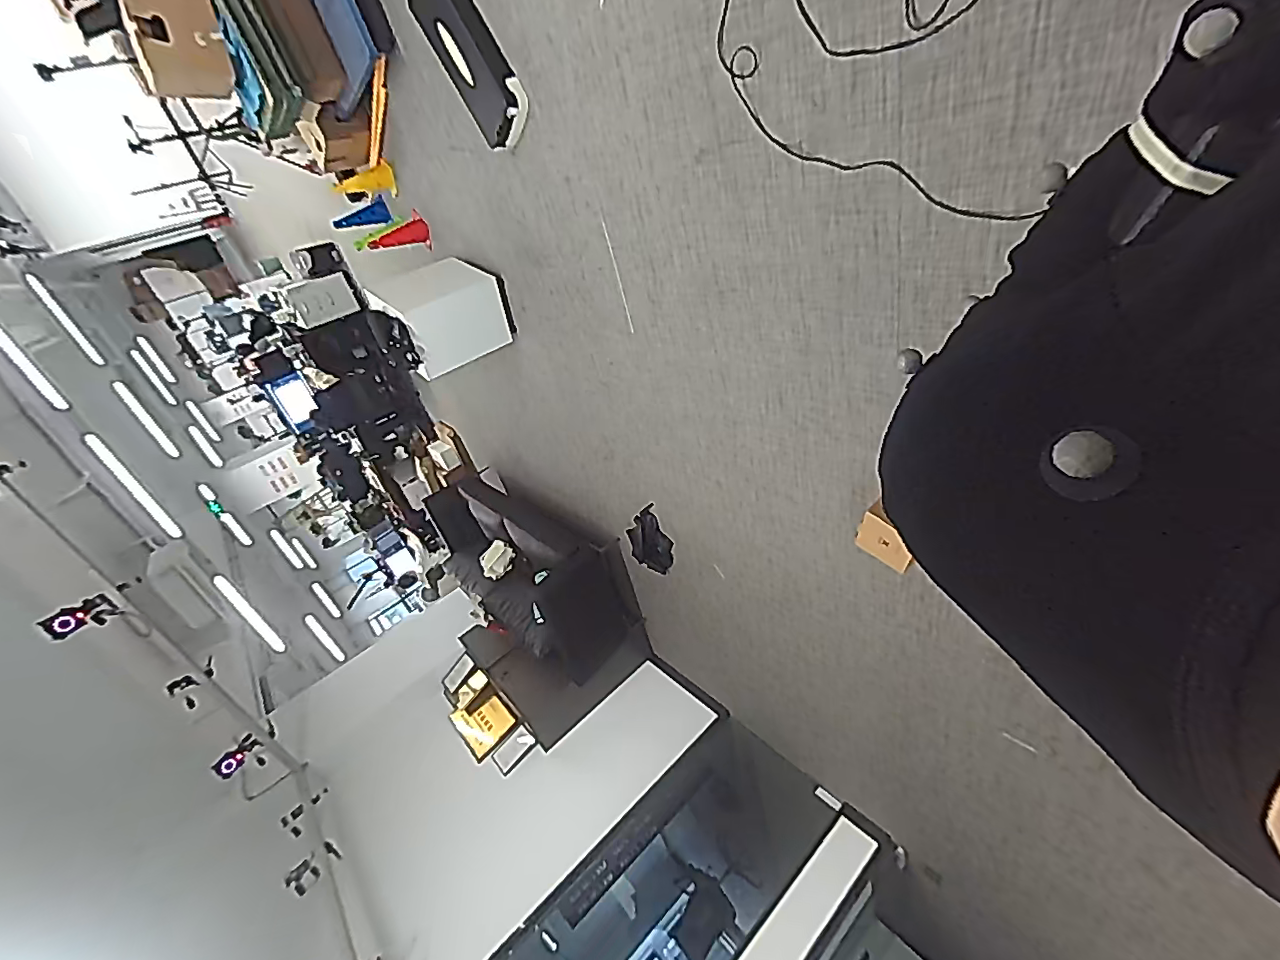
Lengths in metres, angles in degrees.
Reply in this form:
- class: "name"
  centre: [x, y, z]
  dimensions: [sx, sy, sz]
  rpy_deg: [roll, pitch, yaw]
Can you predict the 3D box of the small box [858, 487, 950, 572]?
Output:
- class: "small box"
  centre: [0.824, 0.147, 1.691]
  dimensions: [0.179, 0.176, 0.168]
  rpy_deg: [36, 148, 32]
